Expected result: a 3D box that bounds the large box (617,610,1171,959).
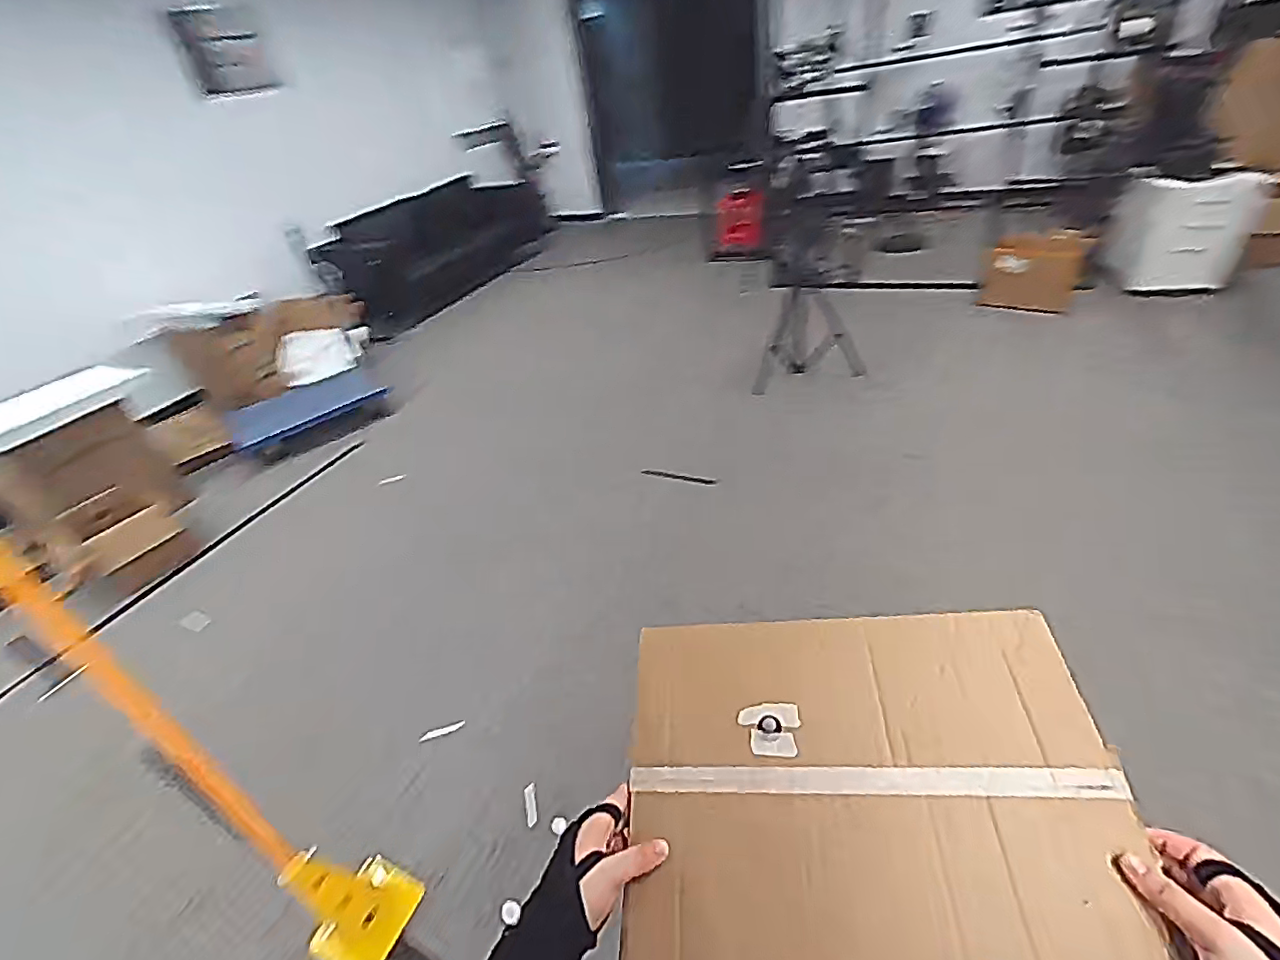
[{"bbox_3d":[0.216,0.369,0.592,0.408,0.320,0.320,-8,47,13],"label":"large box"}]
